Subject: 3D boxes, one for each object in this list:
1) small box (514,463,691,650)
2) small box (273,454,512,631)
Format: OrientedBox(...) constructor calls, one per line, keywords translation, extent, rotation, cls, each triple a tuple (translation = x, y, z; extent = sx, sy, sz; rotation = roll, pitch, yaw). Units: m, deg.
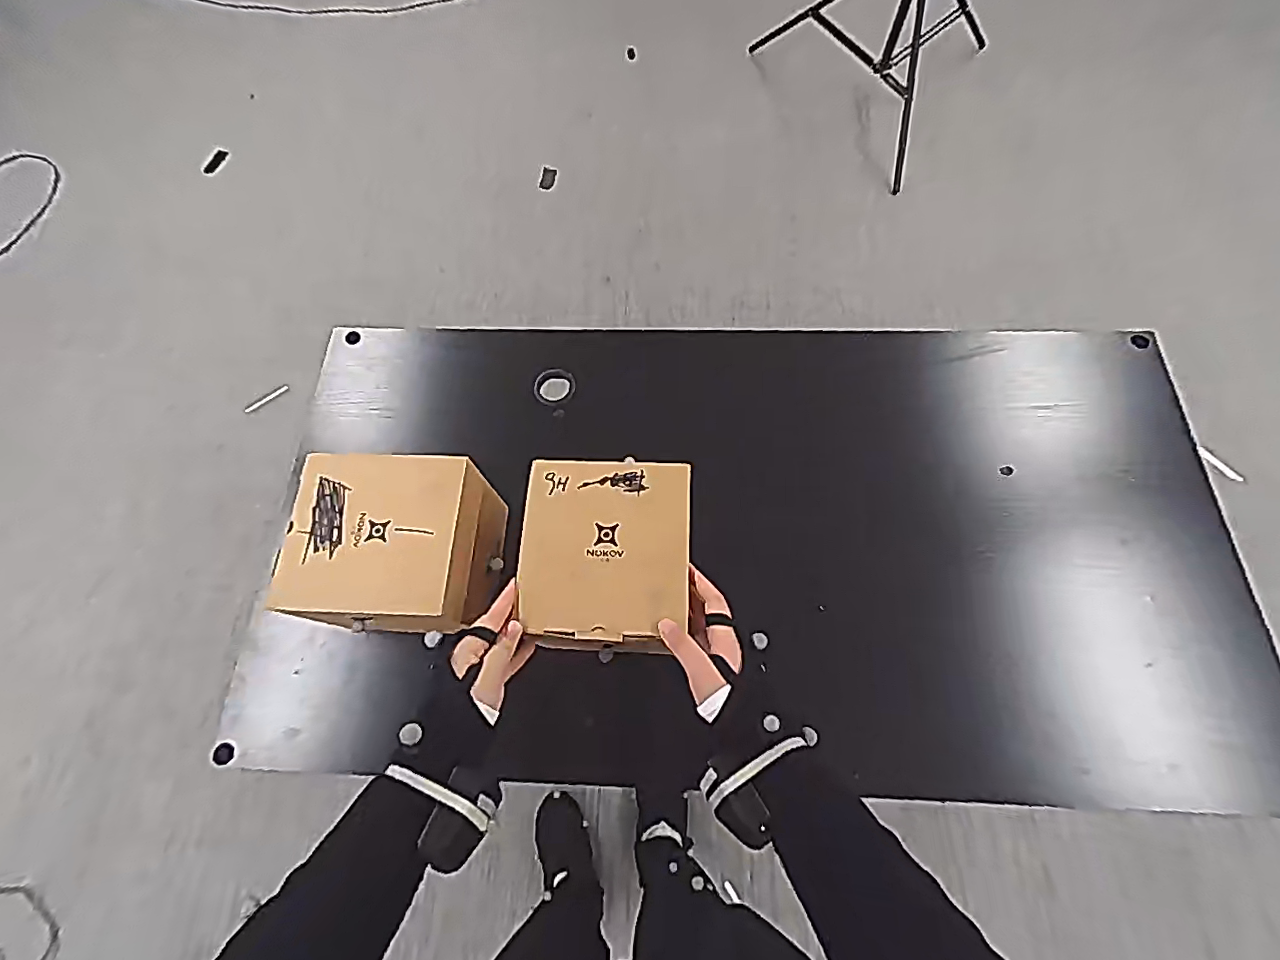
OrientedBox(translation=(-0.029, 0.094, 0.605), extent=(0.168, 0.176, 0.179), rotation=(2, 69, 3), cls="small box")
OrientedBox(translation=(-0.262, 0.080, 0.619), extent=(0.179, 0.176, 0.168), rotation=(2, 69, 2), cls="small box")
